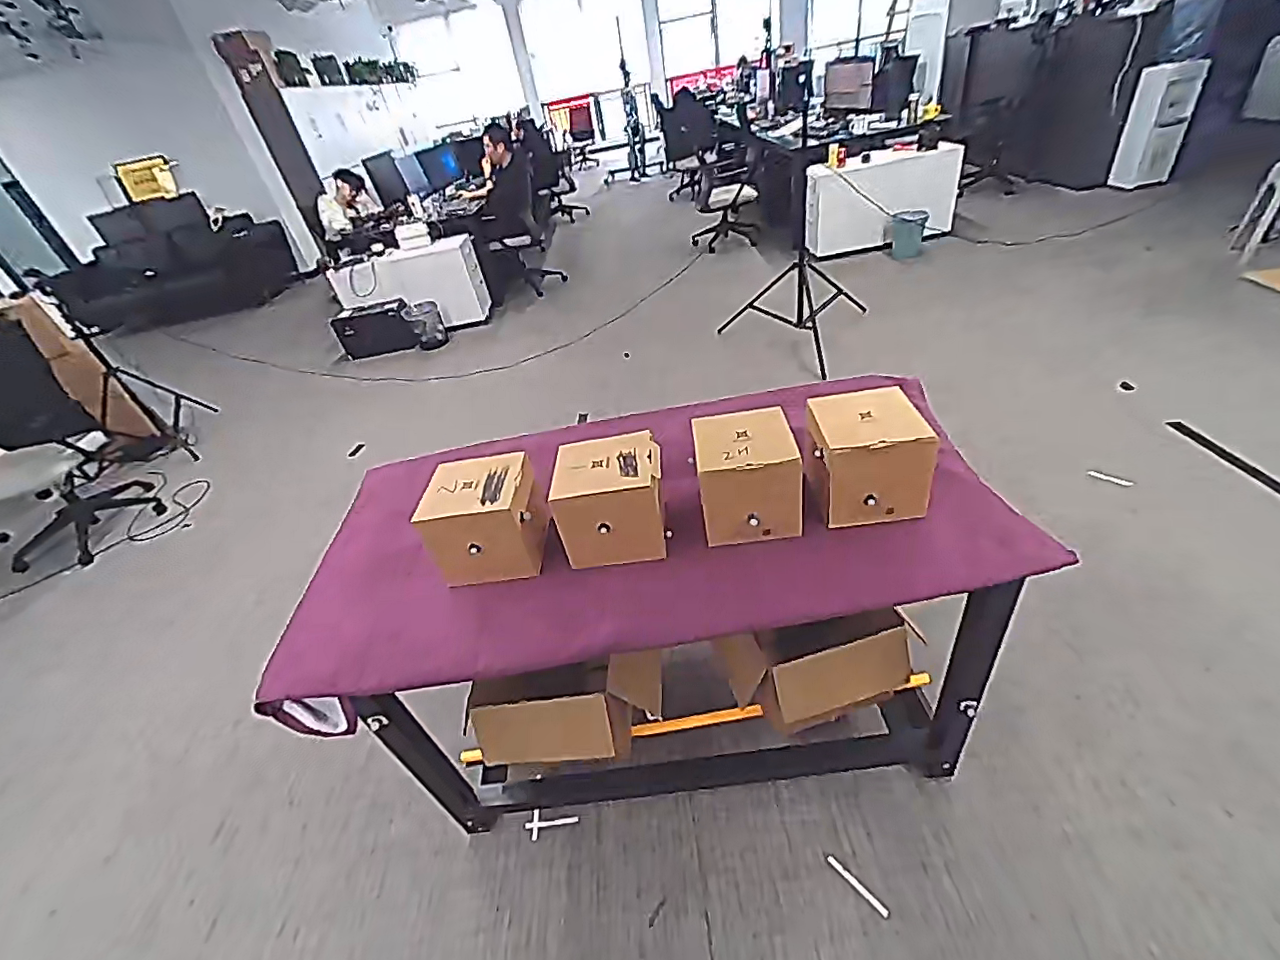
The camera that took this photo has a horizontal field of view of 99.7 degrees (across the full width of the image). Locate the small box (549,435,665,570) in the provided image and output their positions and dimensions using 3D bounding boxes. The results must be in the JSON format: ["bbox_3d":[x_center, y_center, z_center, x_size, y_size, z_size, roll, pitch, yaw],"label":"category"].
[{"bbox_3d":[-0.049,0.042,0.983,0.179,0.176,0.168,-9,37,7],"label":"small box"}]

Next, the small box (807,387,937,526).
[{"bbox_3d":[0.396,-0.042,0.960,0.168,0.176,0.179,-8,36,7],"label":"small box"}]
